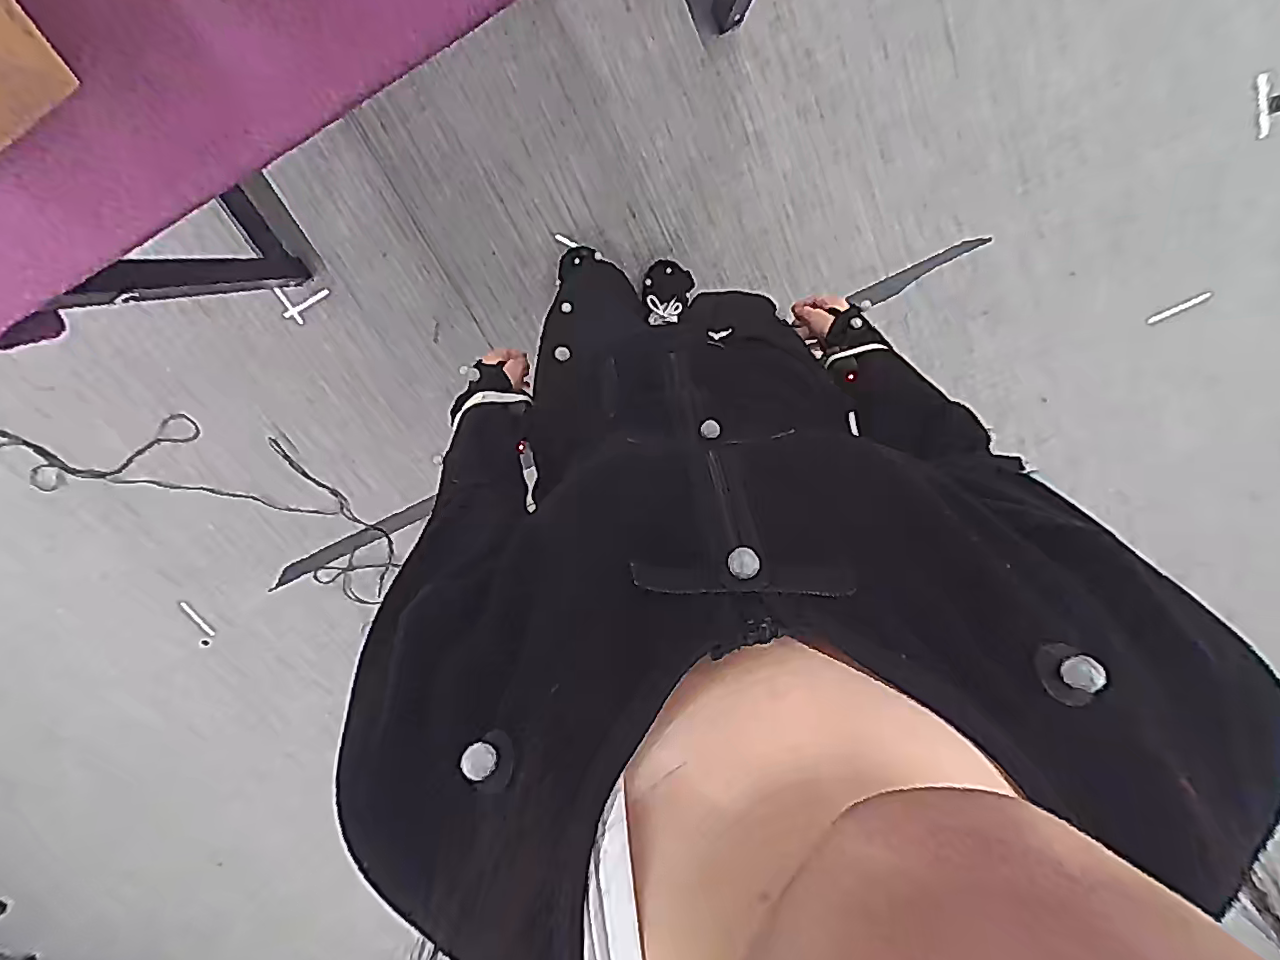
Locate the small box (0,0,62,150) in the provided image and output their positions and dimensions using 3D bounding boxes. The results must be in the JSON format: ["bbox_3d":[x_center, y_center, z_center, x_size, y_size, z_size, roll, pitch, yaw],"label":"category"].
[{"bbox_3d":[-0.695,-0.409,0.478,0.179,0.176,0.168,-28,109,9],"label":"small box"}]
